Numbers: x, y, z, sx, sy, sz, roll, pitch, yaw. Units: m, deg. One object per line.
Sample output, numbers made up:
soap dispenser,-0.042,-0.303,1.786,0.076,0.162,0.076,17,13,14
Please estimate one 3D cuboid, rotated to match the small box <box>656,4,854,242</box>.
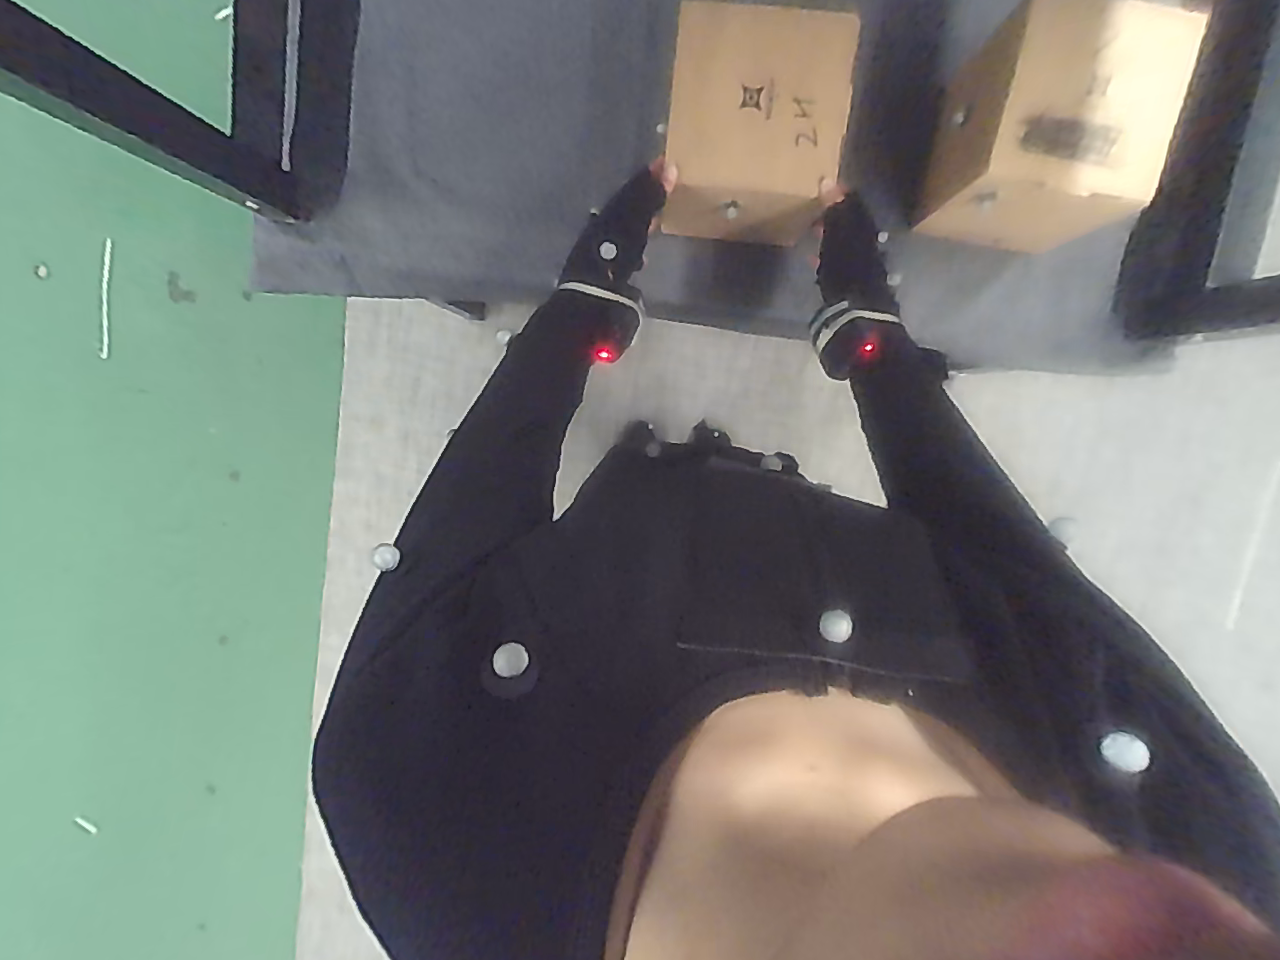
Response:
small box,0.114,-0.383,0.611,0.179,0.176,0.168,6,98,1
